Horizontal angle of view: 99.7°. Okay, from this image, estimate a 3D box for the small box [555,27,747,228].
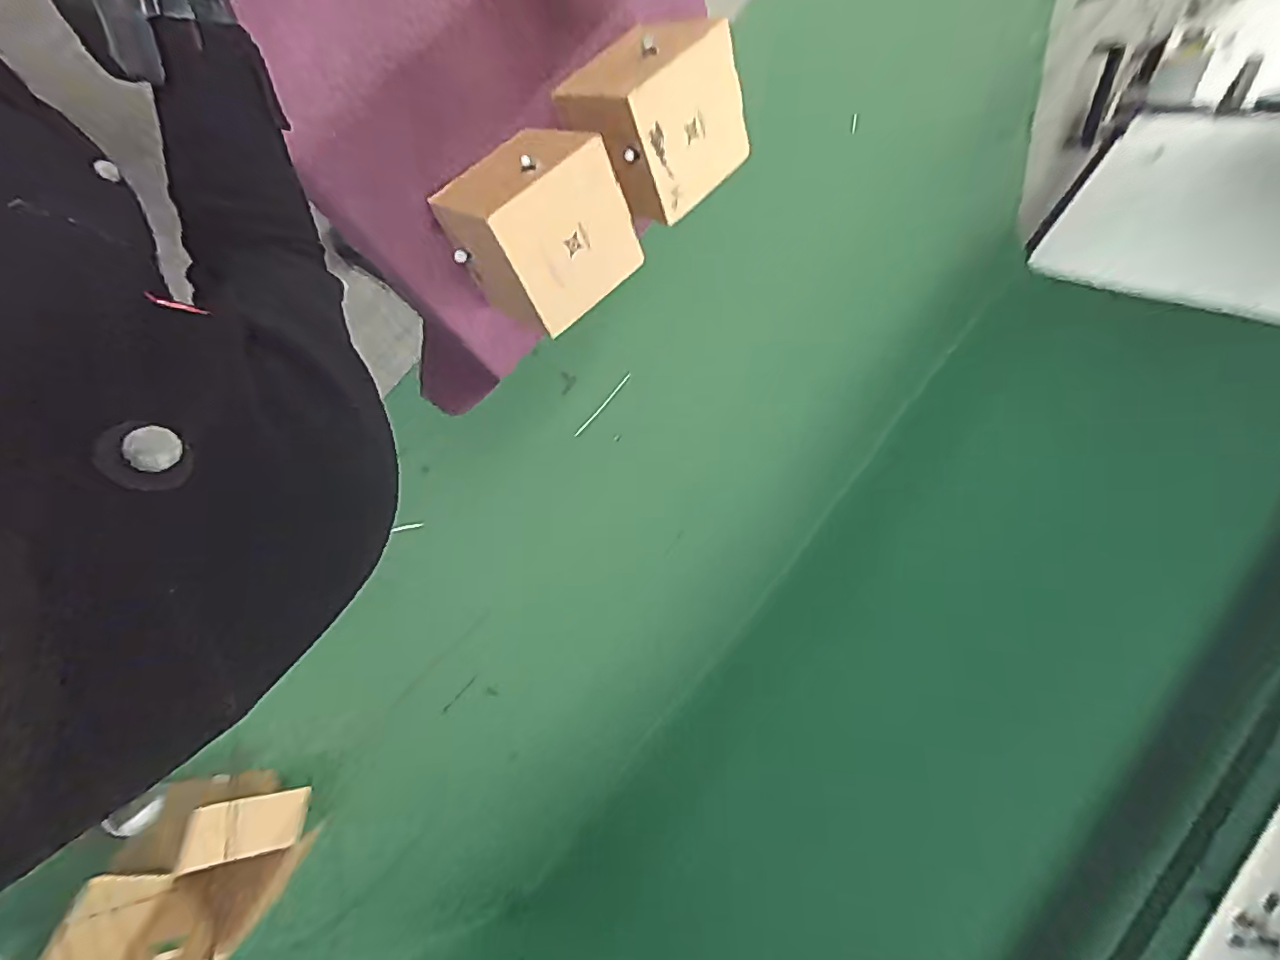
[{"bbox_3d":[0.018,-0.484,0.744,0.179,0.176,0.168,-46,142,-13],"label":"small box"}]
